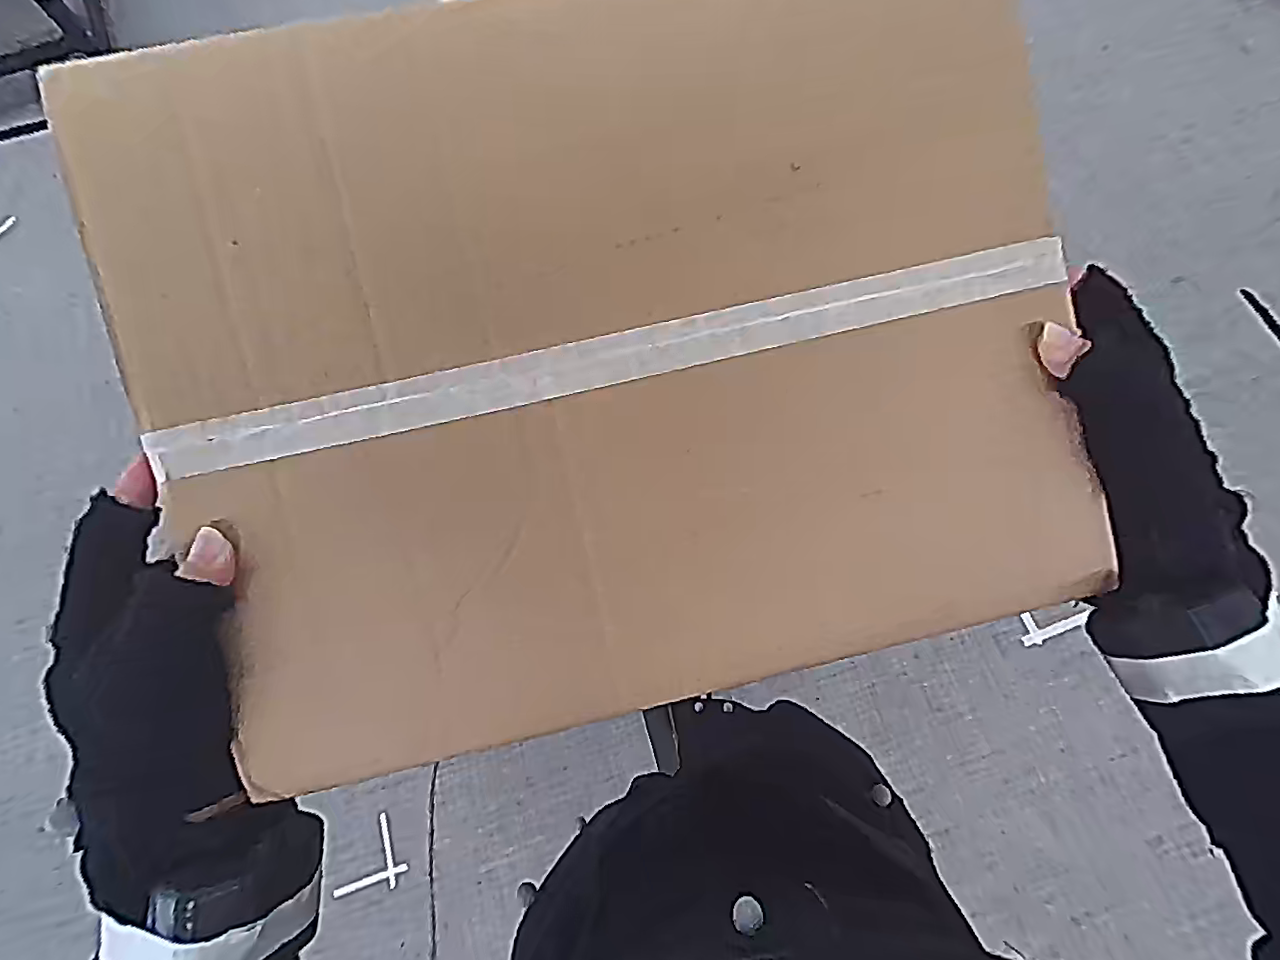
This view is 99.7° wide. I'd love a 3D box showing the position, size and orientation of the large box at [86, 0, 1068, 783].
[{"bbox_3d":[-0.018,-0.063,0.397,0.408,0.320,0.320,-13,93,-3],"label":"large box"}]
